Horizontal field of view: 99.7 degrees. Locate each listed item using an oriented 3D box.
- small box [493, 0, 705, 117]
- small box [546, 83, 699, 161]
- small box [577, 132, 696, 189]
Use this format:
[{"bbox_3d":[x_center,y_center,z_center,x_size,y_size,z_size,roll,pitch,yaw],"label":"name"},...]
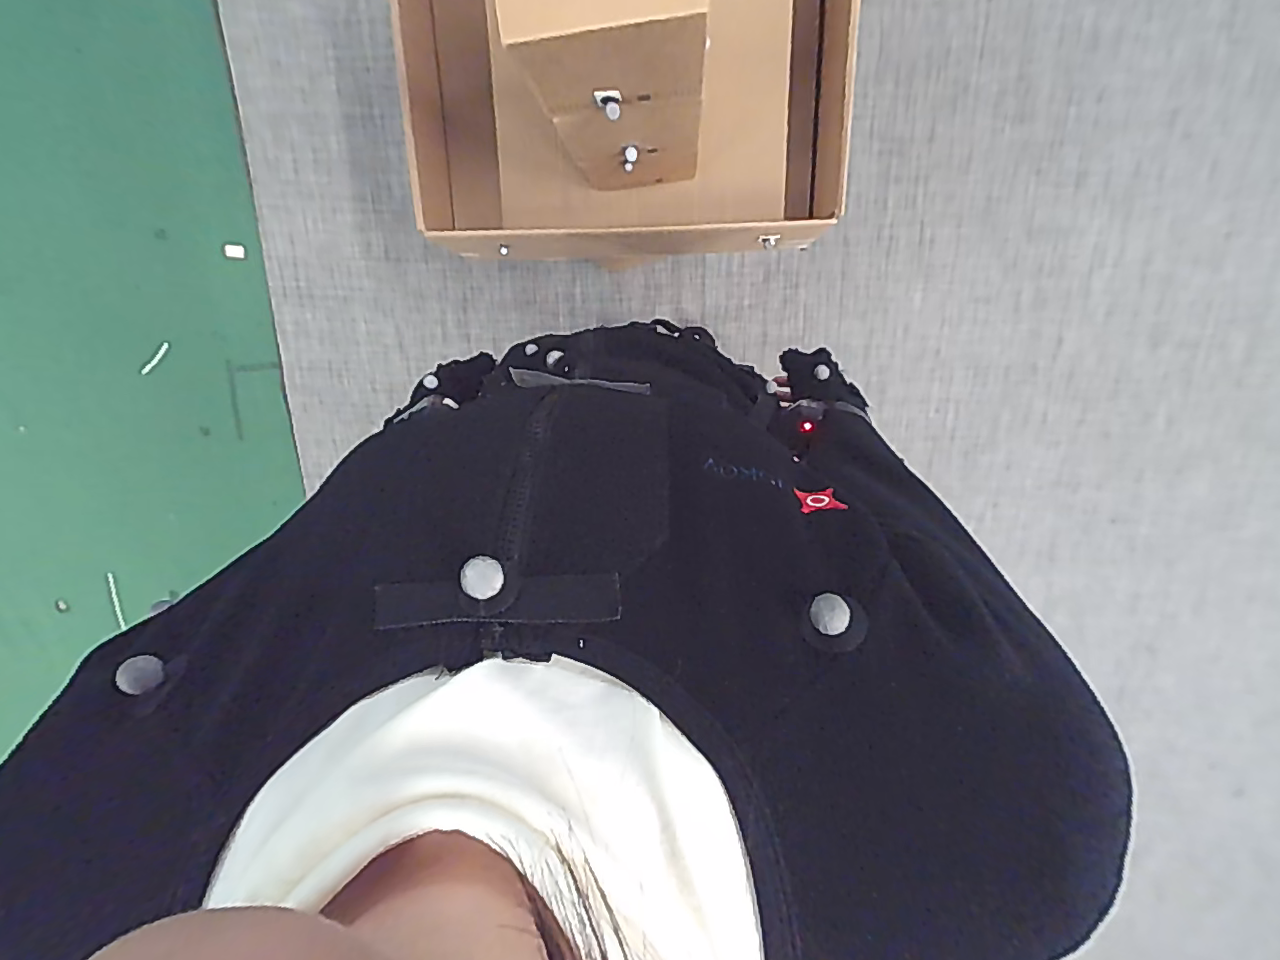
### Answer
[{"bbox_3d":[-0.033,-0.457,0.475,0.168,0.176,0.179,-4,106,7],"label":"small box"},{"bbox_3d":[-0.021,-0.501,0.630,0.168,0.176,0.179,-4,106,5],"label":"small box"},{"bbox_3d":[-0.007,-0.549,0.786,0.168,0.176,0.179,-4,104,7],"label":"small box"}]
